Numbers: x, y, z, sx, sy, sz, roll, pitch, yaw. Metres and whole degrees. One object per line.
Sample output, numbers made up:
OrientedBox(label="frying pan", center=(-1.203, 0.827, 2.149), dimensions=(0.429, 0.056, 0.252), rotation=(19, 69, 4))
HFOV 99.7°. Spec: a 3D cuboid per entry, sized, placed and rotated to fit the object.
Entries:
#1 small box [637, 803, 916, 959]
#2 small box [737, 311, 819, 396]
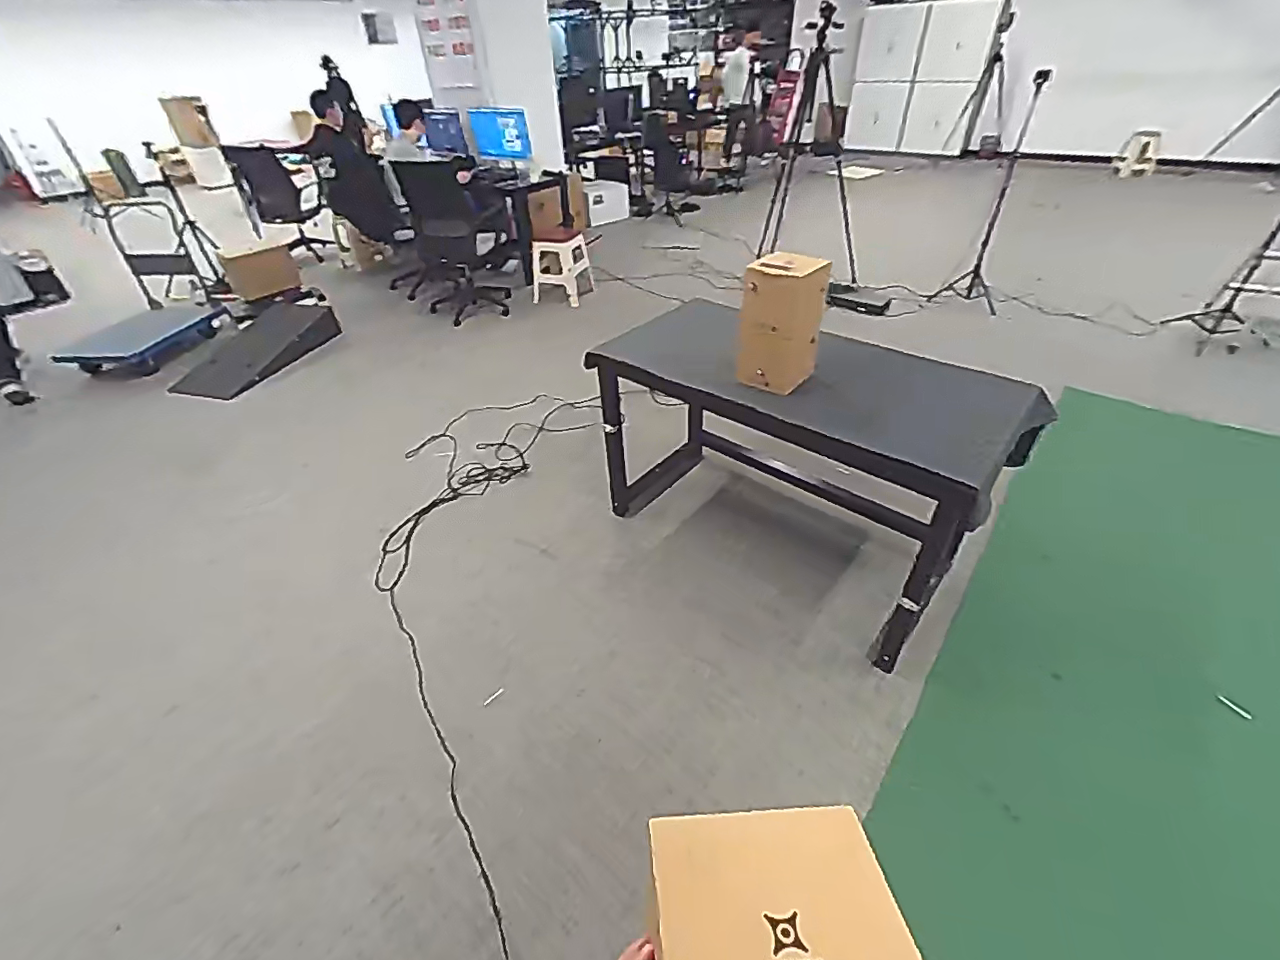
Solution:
OrientedBox(label="small box", center=(0.089, 0.371, 0.386), dimensions=(0.168, 0.176, 0.179), rotation=(-1, 24, -6))
OrientedBox(label="small box", center=(0.397, -0.370, 1.577), dimensions=(0.168, 0.176, 0.179), rotation=(26, 46, 32))
